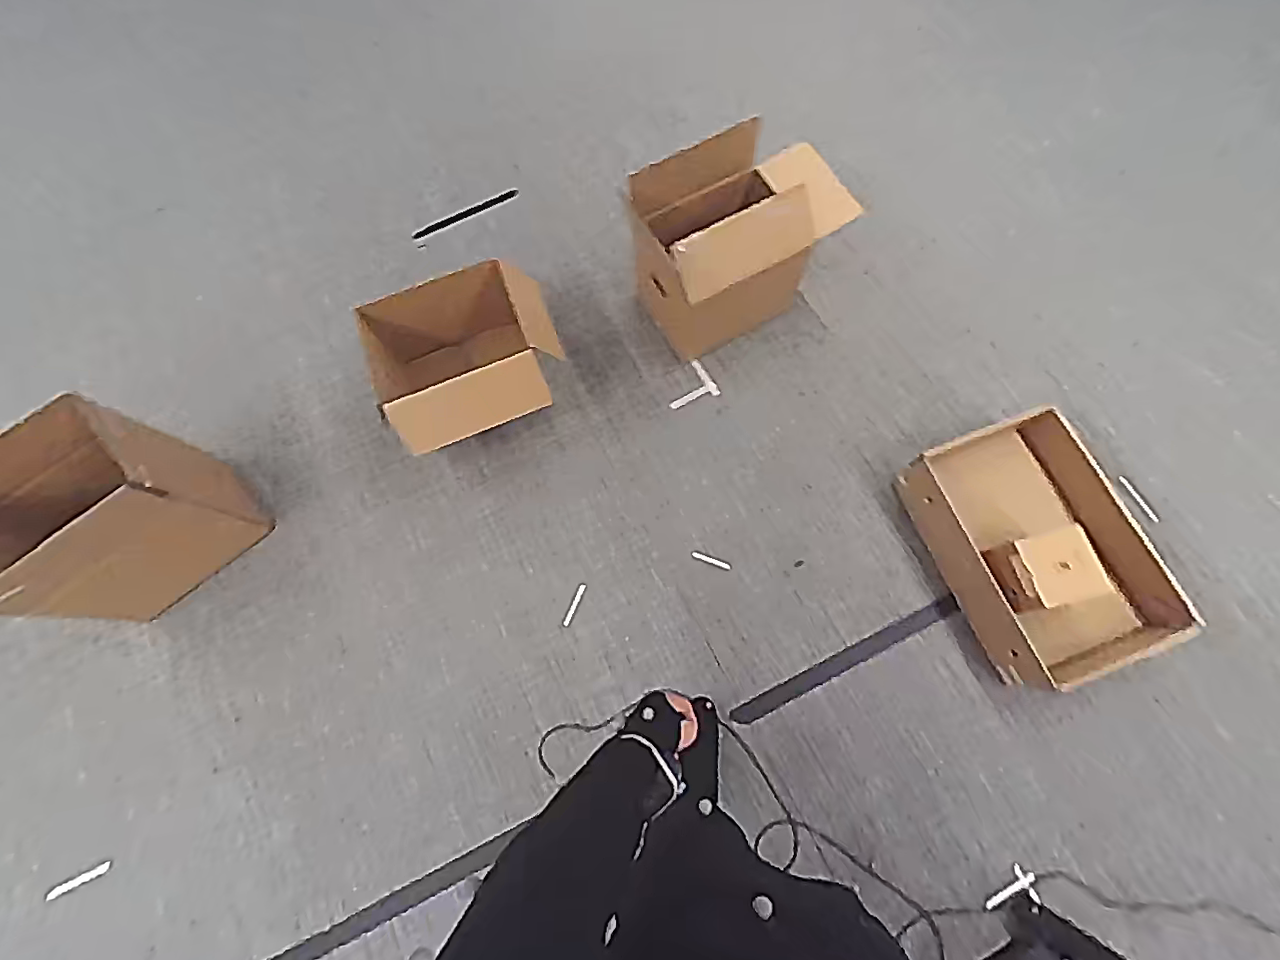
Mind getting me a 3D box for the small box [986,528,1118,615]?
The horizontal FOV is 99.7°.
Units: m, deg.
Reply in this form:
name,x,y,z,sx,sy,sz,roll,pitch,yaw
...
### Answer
name,x,y,z,sx,sy,sz,roll,pitch,yaw
small box,0.996,0.231,1.332,0.179,0.176,0.168,-13,72,-2
